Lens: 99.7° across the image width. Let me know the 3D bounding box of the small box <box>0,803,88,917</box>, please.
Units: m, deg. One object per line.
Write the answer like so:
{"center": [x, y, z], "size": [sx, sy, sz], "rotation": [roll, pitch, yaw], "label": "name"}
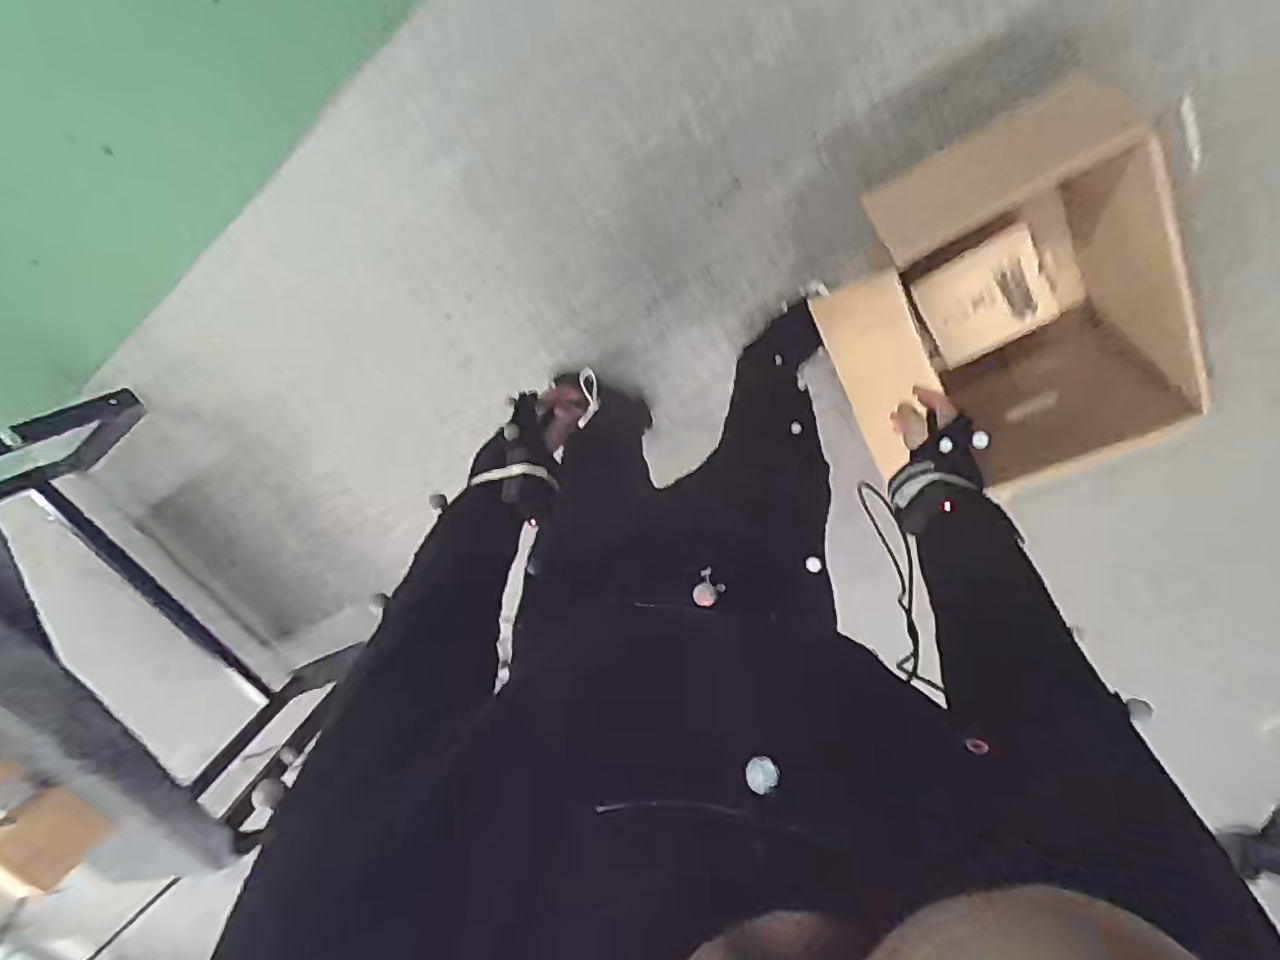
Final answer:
{"center": [-1.495, 0.891, 1.278], "size": [0.168, 0.176, 0.179], "rotation": [-17, 114, 21], "label": "small box"}
